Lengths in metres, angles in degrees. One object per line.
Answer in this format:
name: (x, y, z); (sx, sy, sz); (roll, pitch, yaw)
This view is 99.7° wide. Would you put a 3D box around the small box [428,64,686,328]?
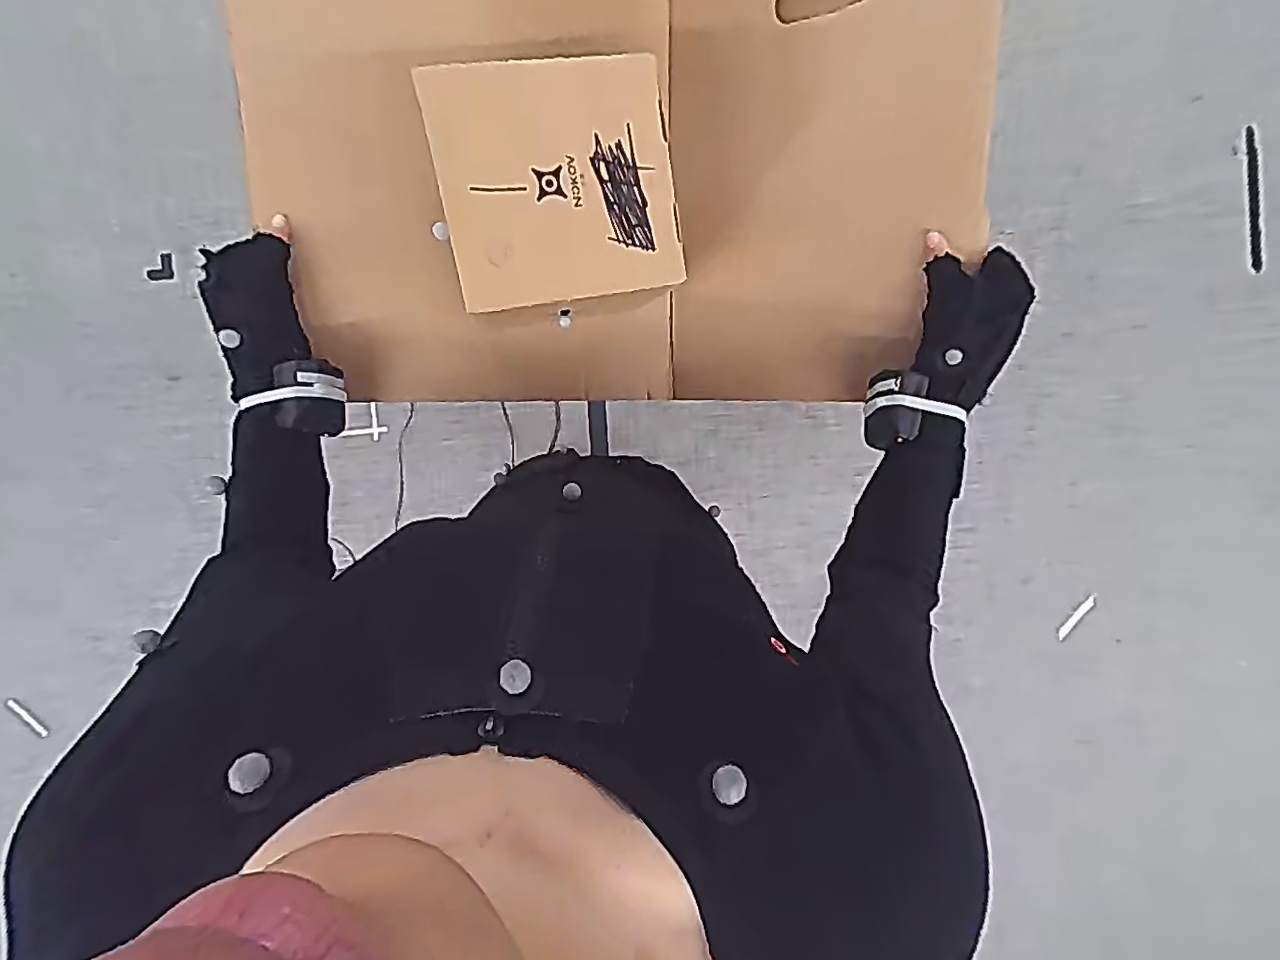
small box: (-0.074, -0.237, 0.488); (0.179, 0.176, 0.168); (-12, 103, -11)
